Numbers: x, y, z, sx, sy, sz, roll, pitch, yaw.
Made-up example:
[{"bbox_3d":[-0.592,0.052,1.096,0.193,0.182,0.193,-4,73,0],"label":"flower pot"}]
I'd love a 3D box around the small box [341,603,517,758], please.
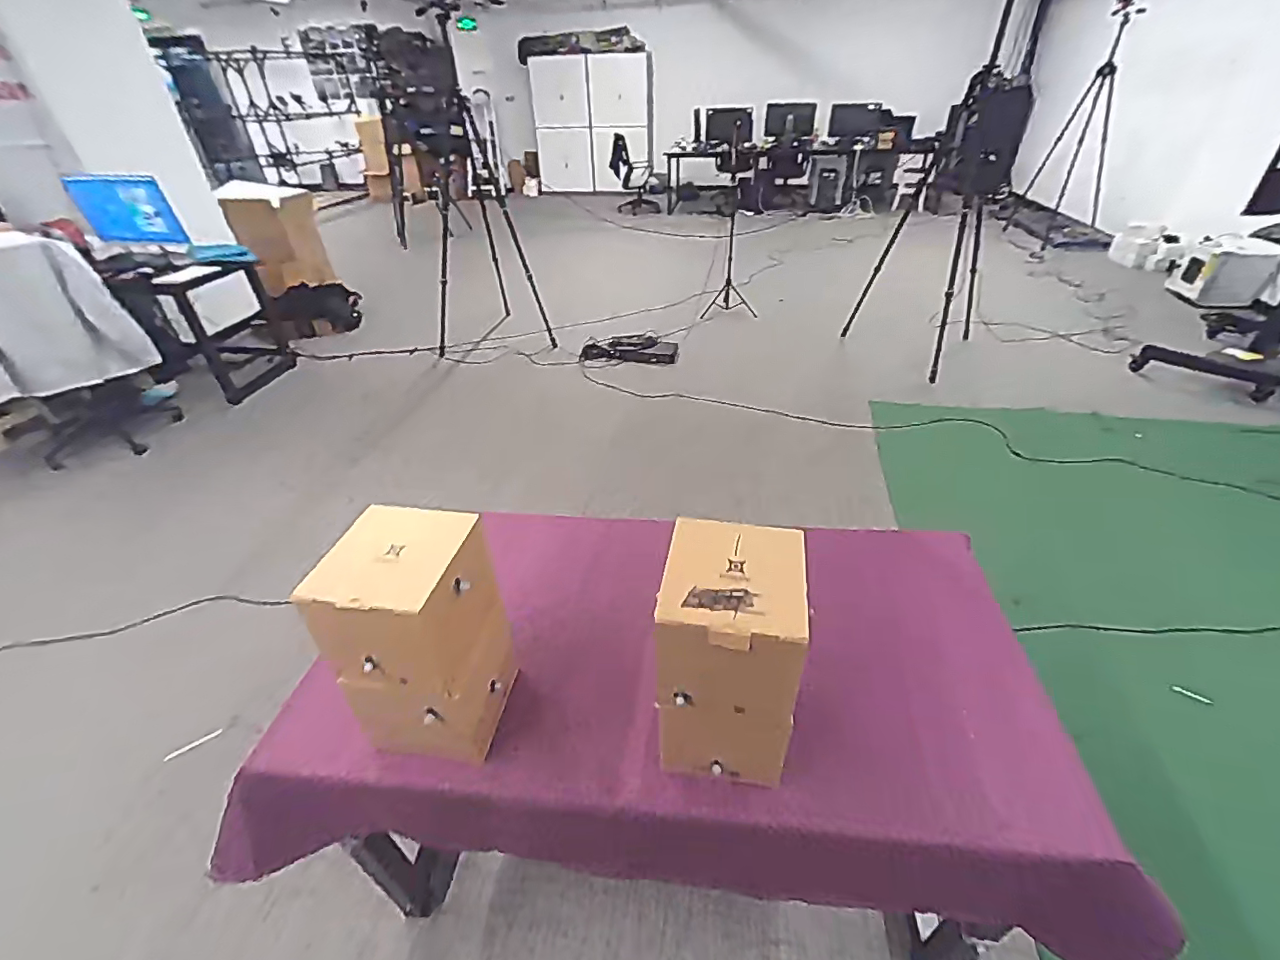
[{"bbox_3d":[-0.303,0.297,0.823,0.179,0.176,0.168,3,36,8],"label":"small box"}]

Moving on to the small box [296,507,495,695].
[{"bbox_3d":[-0.310,0.160,0.735,0.168,0.176,0.179,4,38,9],"label":"small box"}]

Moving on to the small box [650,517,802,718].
[{"bbox_3d":[0.112,0.171,0.684,0.168,0.176,0.179,5,36,11],"label":"small box"}]
